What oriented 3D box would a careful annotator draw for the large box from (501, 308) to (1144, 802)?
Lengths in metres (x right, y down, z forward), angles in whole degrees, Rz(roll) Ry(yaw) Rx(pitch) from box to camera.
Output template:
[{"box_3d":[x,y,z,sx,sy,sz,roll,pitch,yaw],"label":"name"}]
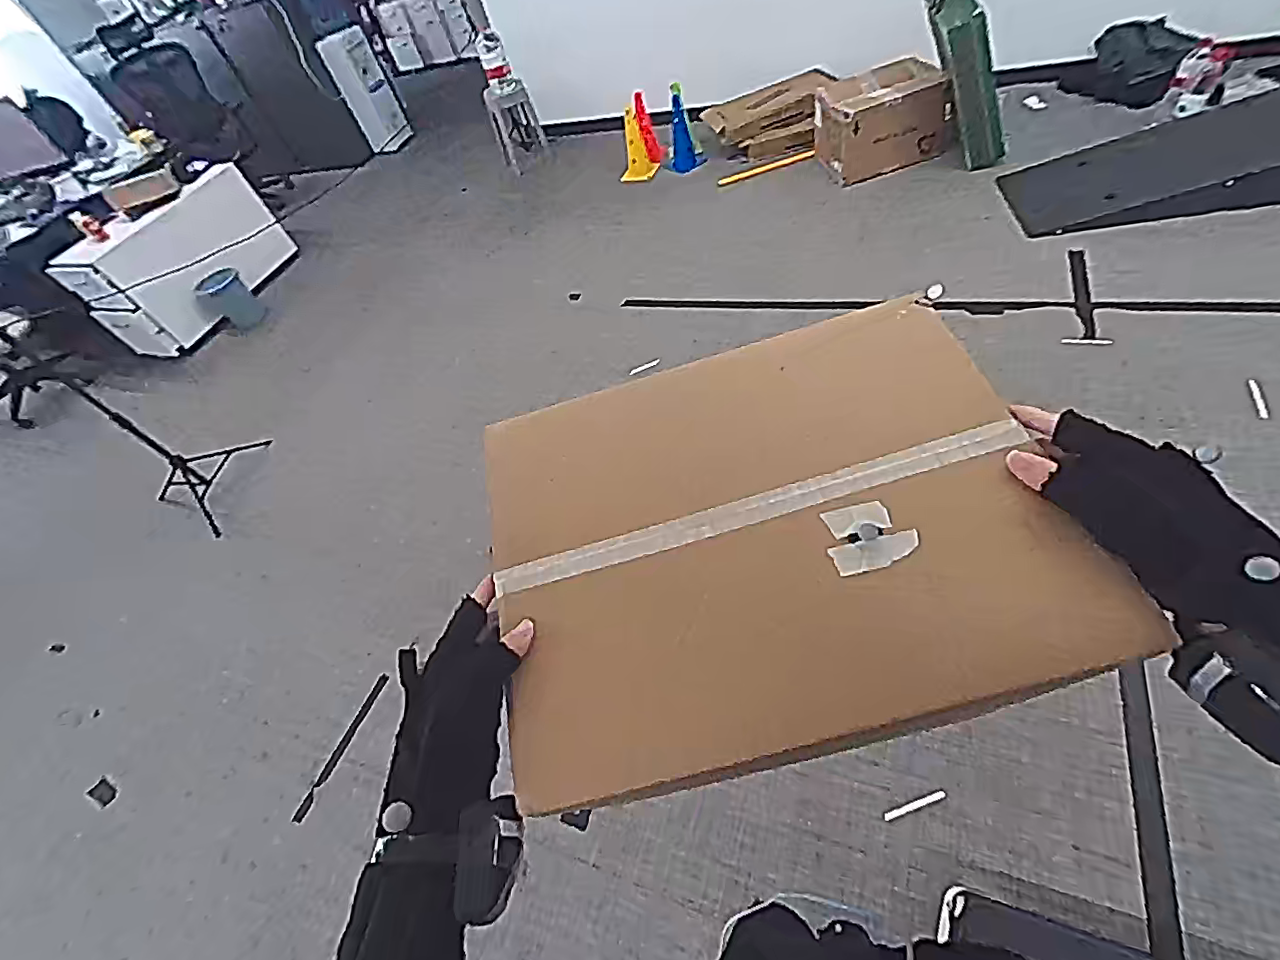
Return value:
[{"box_3d":[0.118,0.100,0.545,0.408,0.320,0.320,-17,59,3],"label":"large box"}]
